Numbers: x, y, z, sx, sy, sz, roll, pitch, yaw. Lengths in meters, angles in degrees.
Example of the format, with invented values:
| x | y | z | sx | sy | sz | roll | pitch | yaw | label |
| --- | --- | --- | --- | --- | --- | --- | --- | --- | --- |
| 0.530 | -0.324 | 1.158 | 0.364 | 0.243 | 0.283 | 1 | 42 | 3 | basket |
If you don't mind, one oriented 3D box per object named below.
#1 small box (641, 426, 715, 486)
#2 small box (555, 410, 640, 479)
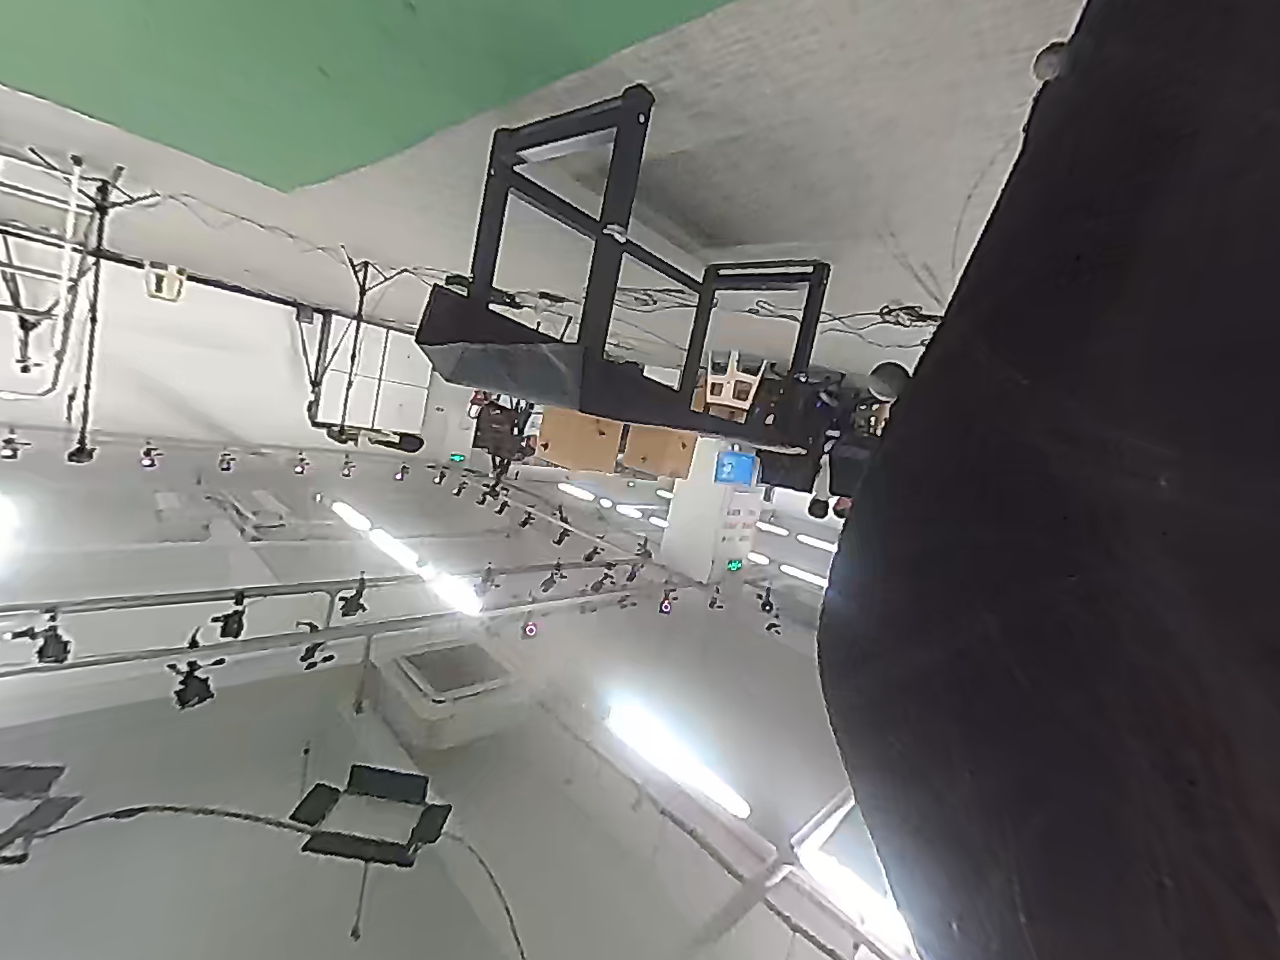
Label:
| x | y | z | sx | sy | sz | roll | pitch | yaw | label |
| --- | --- | --- | --- | --- | --- | --- | --- | --- | --- |
| 0.134 | -0.087 | 1.872 | 0.179 | 0.176 | 0.168 | 18 | -172 | 41 | small box |
| -0.121 | -0.107 | 1.594 | 0.179 | 0.176 | 0.168 | 18 | -170 | 43 | small box |
